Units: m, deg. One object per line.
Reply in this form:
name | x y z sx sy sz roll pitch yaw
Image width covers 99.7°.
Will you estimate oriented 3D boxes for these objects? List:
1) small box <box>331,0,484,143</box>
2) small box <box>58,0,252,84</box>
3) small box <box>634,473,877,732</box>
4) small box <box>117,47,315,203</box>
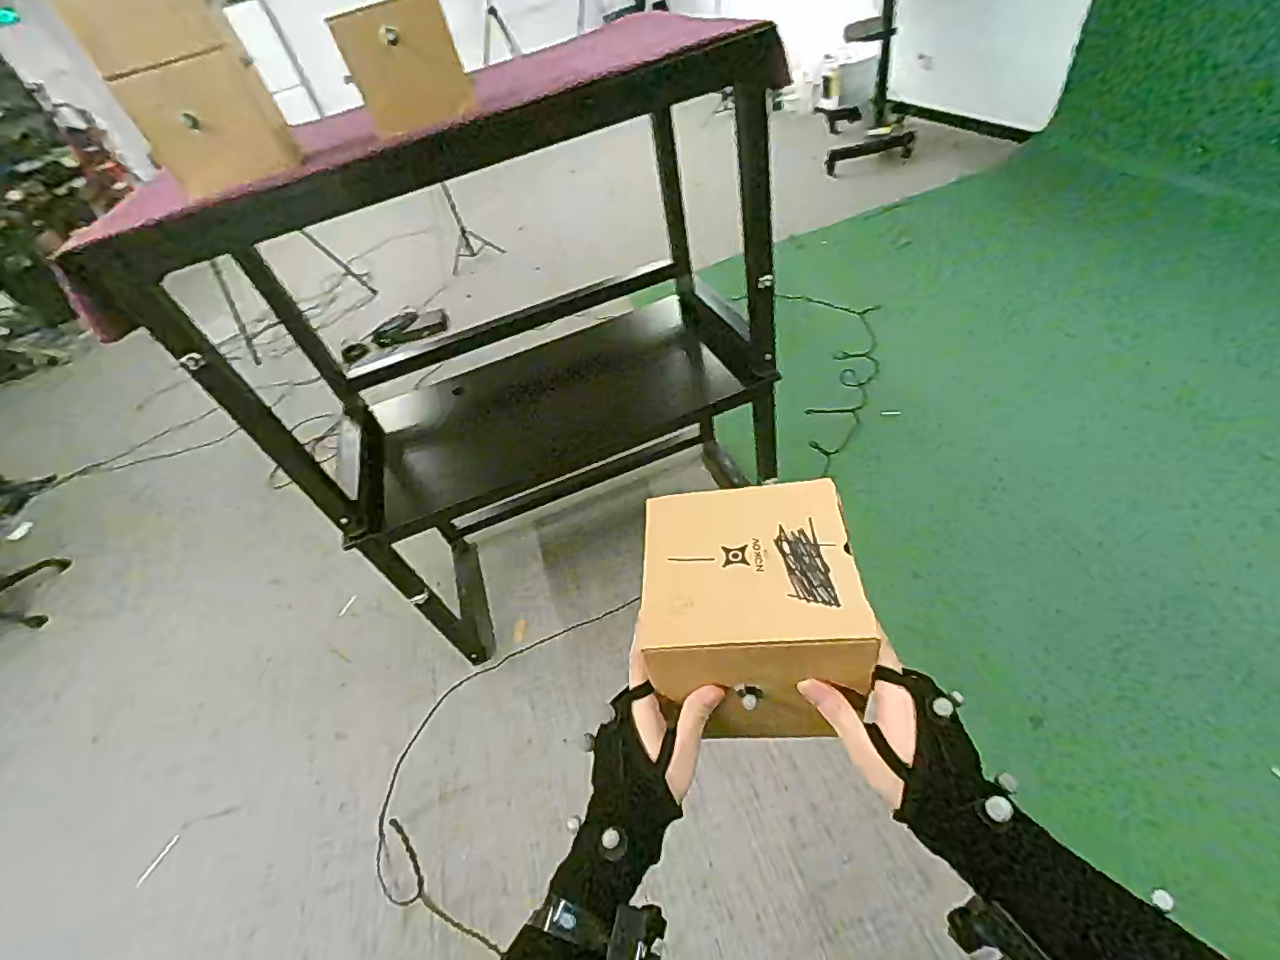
small box | -0.388 -0.701 0.921 0.179 0.176 0.168 -22 44 -6
small box | -0.717 -0.698 0.783 0.179 0.176 0.168 -23 44 -8
small box | 0.099 0.116 0.499 0.179 0.176 0.168 -7 42 10
small box | -0.680 -0.585 0.894 0.179 0.176 0.168 -24 45 -6
